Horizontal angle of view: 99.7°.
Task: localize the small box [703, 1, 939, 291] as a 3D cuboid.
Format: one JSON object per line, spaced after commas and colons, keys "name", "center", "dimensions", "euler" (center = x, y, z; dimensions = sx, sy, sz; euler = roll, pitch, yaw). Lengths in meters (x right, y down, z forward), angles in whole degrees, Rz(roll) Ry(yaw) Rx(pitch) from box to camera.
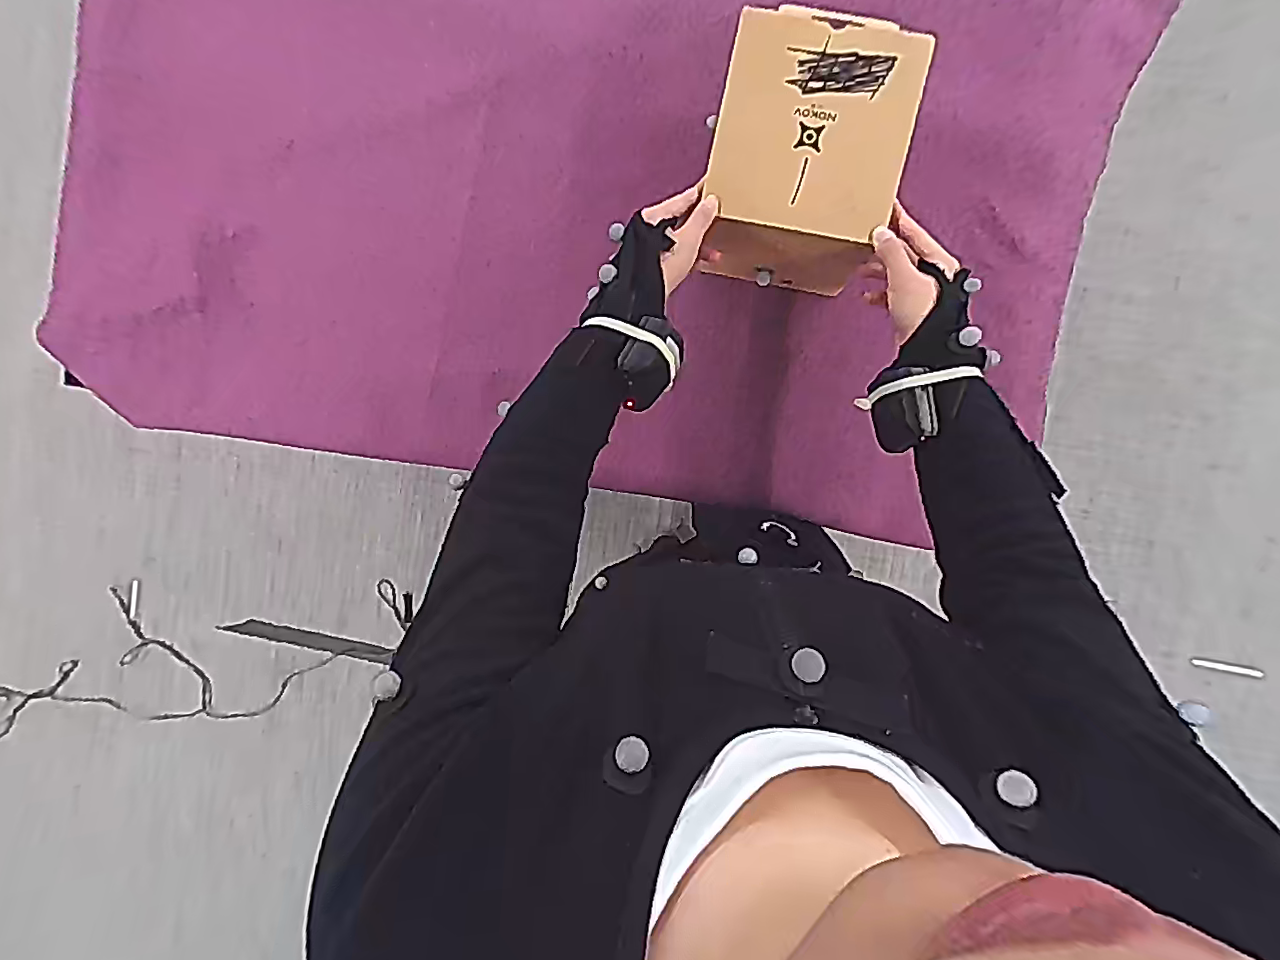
{"name": "small box", "center": [0.159, -0.311, 0.540], "dimensions": [0.168, 0.176, 0.179], "euler": [13, 96, 5]}
